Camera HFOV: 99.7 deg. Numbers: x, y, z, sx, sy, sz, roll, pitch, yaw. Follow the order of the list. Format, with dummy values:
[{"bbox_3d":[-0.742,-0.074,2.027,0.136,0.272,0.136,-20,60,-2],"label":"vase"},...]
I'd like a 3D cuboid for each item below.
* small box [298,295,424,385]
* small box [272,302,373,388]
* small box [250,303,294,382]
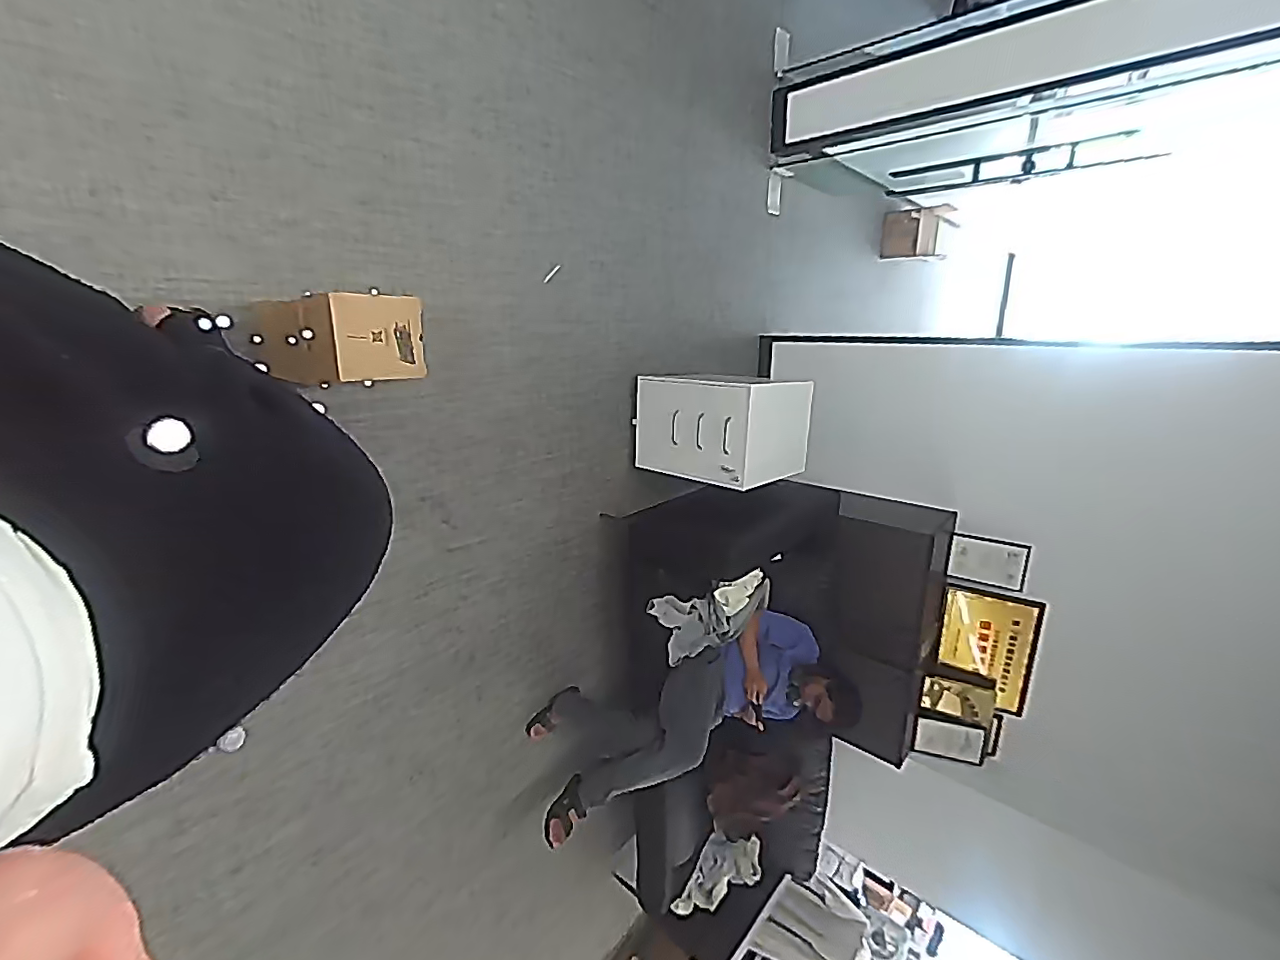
[{"bbox_3d":[-0.576,-0.289,1.121,0.179,0.176,0.168,-15,111,-46],"label":"small box"},{"bbox_3d":[-0.706,-0.309,1.224,0.168,0.176,0.179,-18,116,-46],"label":"small box"},{"bbox_3d":[-0.827,-0.338,1.326,0.168,0.176,0.179,-16,113,-47],"label":"small box"}]
